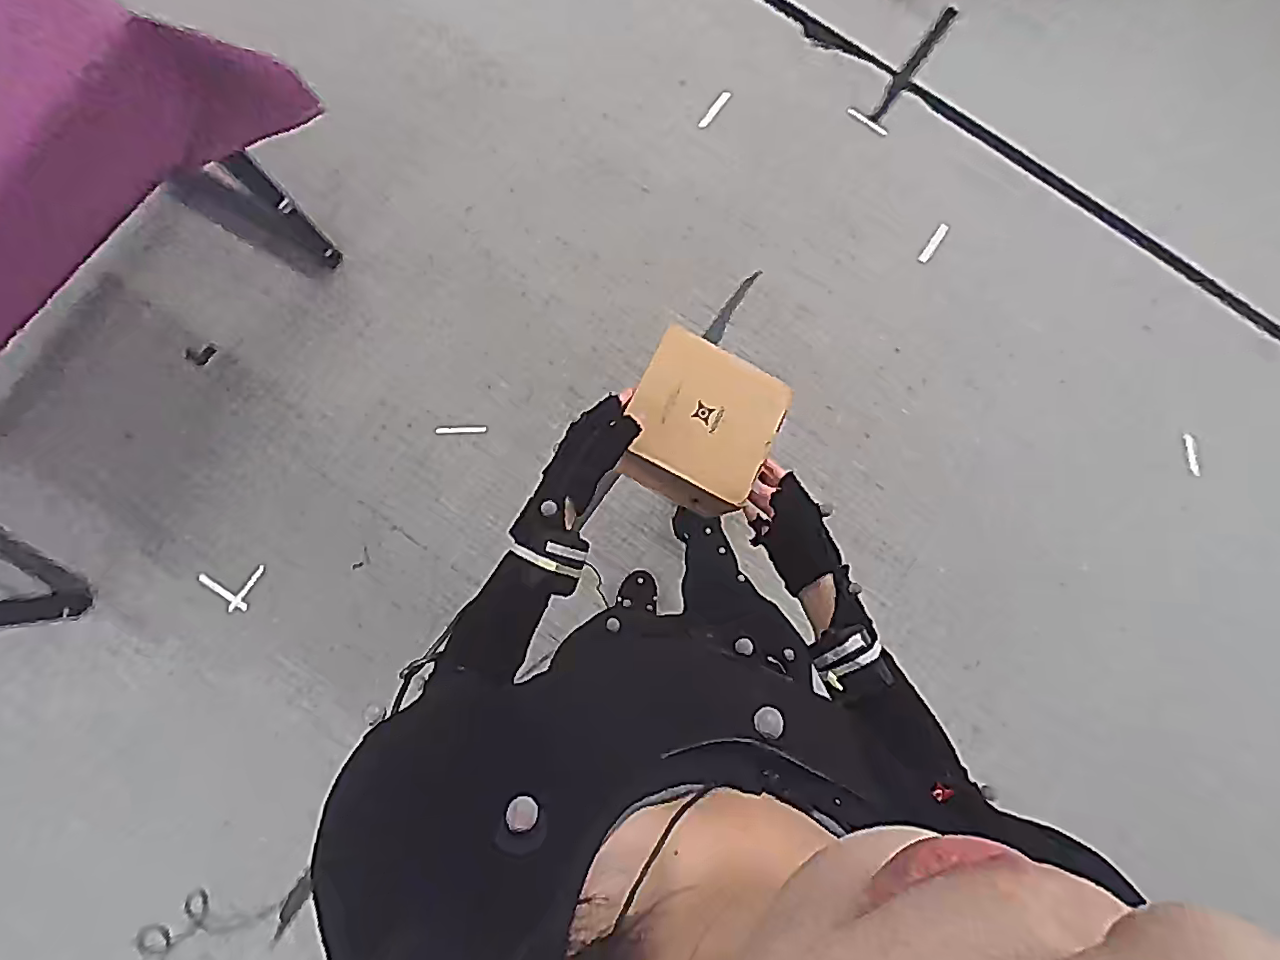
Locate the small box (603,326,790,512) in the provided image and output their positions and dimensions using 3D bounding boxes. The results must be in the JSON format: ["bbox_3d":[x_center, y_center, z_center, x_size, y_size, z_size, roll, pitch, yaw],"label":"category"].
[{"bbox_3d":[0.063,-0.066,0.714,0.179,0.176,0.168,24,77,-2],"label":"small box"}]
